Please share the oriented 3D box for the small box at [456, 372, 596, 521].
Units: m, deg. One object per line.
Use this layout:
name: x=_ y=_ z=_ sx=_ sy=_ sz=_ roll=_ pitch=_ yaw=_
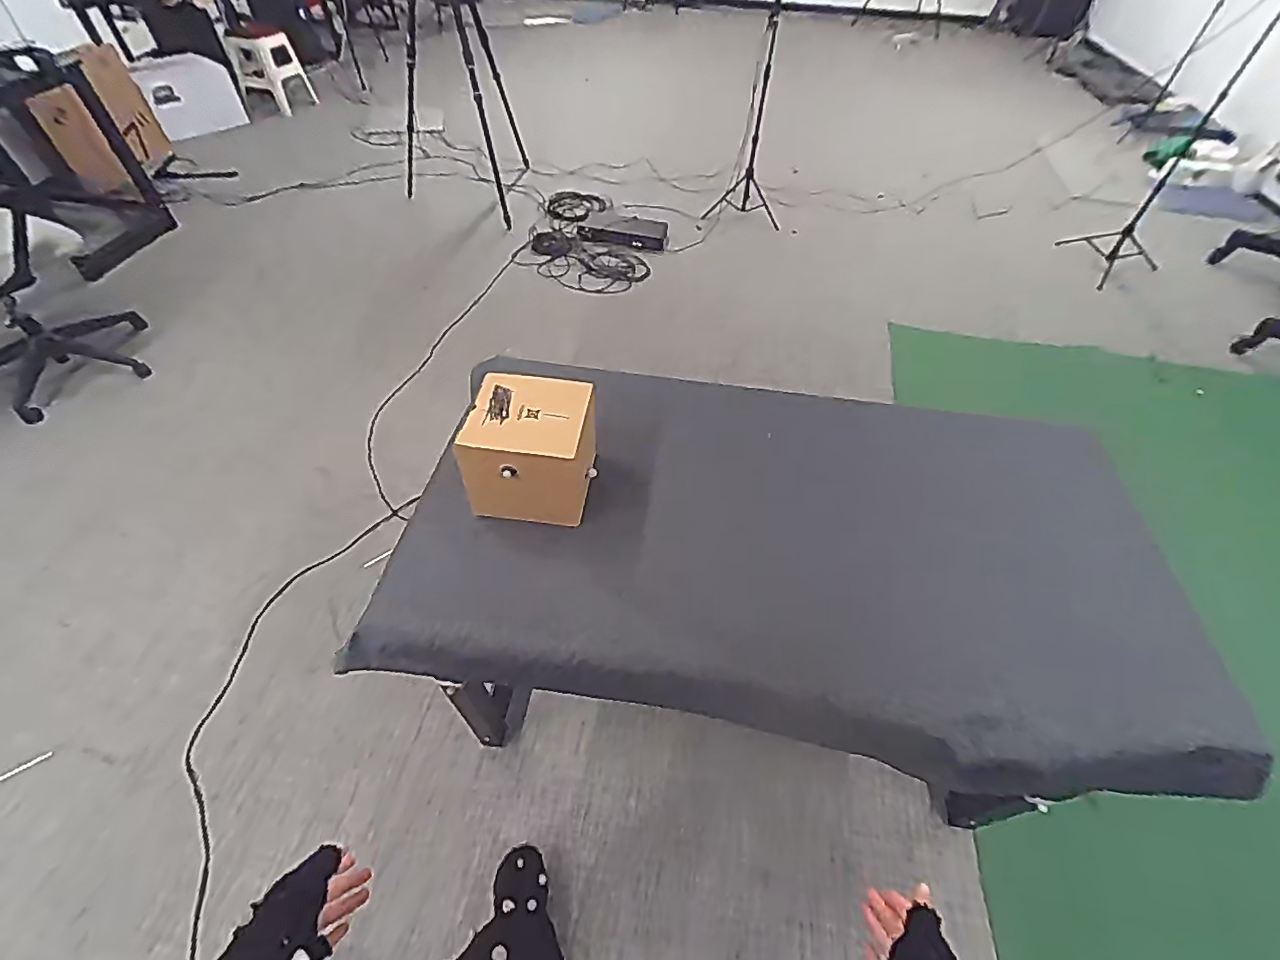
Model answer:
small box: x=-0.170 y=-0.051 z=0.873 sx=0.179 sy=0.176 sz=0.168 roll=7 pitch=50 yaw=2
